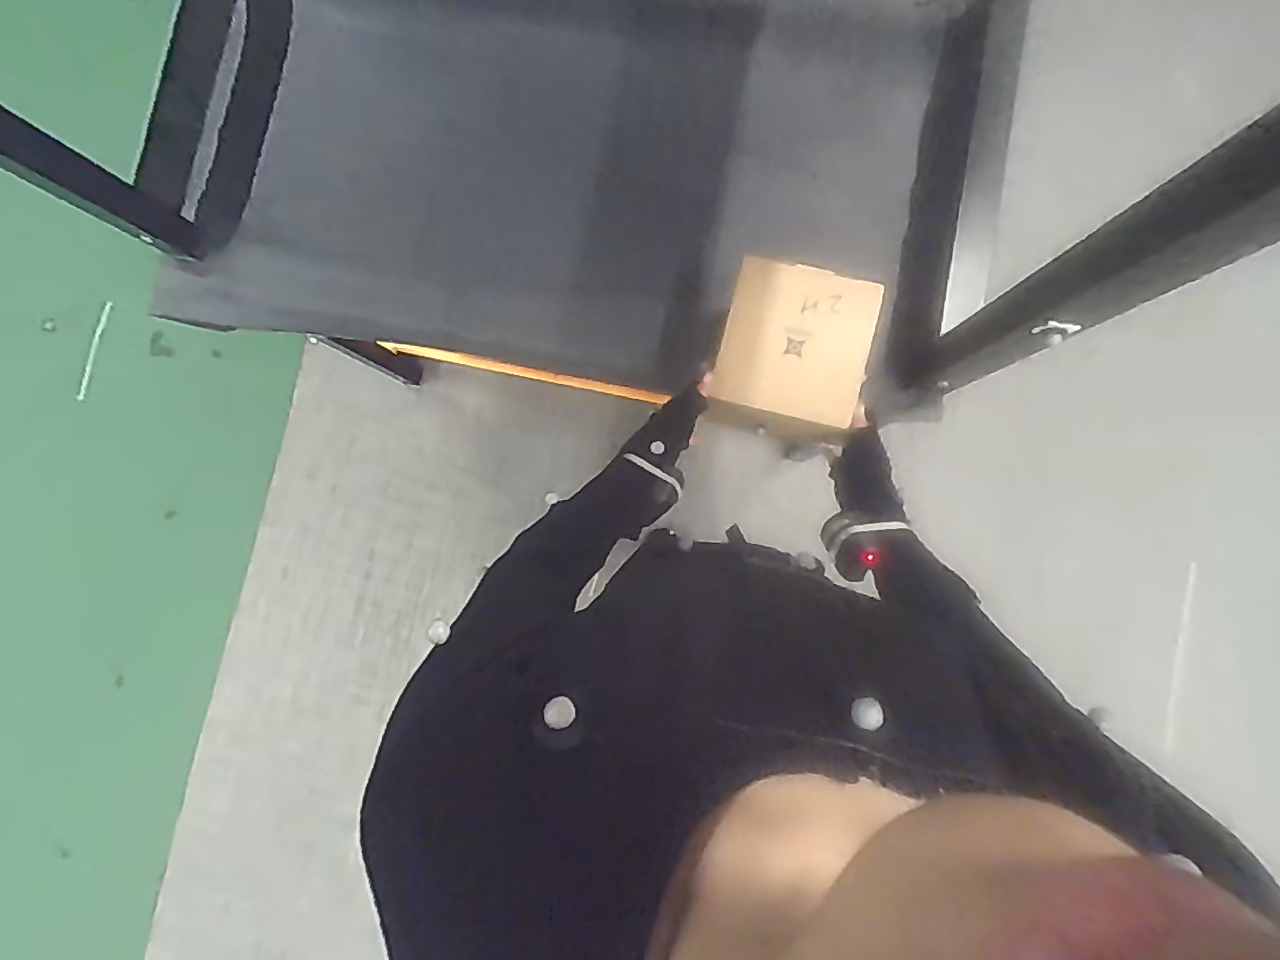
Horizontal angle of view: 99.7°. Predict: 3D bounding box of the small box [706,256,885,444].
[{"bbox_3d":[0.185,-0.153,0.698,0.168,0.176,0.179,15,88,4],"label":"small box"}]
